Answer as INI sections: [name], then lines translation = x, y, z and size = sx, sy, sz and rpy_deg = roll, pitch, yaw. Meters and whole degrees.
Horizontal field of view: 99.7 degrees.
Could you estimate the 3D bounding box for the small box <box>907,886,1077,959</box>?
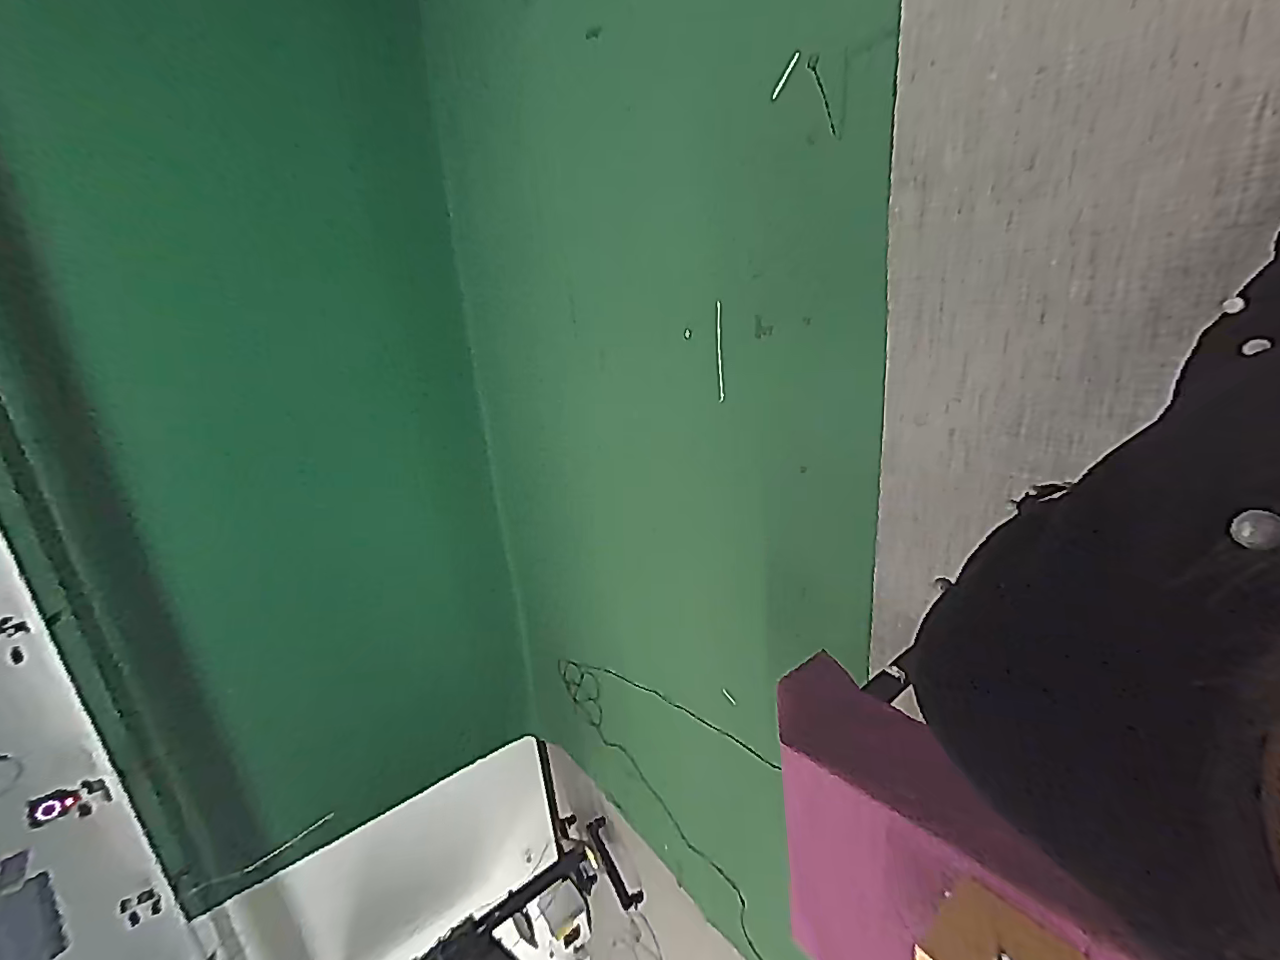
[small box]
translation = 0.531, 0.774, 0.825
size = 0.179, 0.176, 0.168
rpy_deg = 16, 117, 49
